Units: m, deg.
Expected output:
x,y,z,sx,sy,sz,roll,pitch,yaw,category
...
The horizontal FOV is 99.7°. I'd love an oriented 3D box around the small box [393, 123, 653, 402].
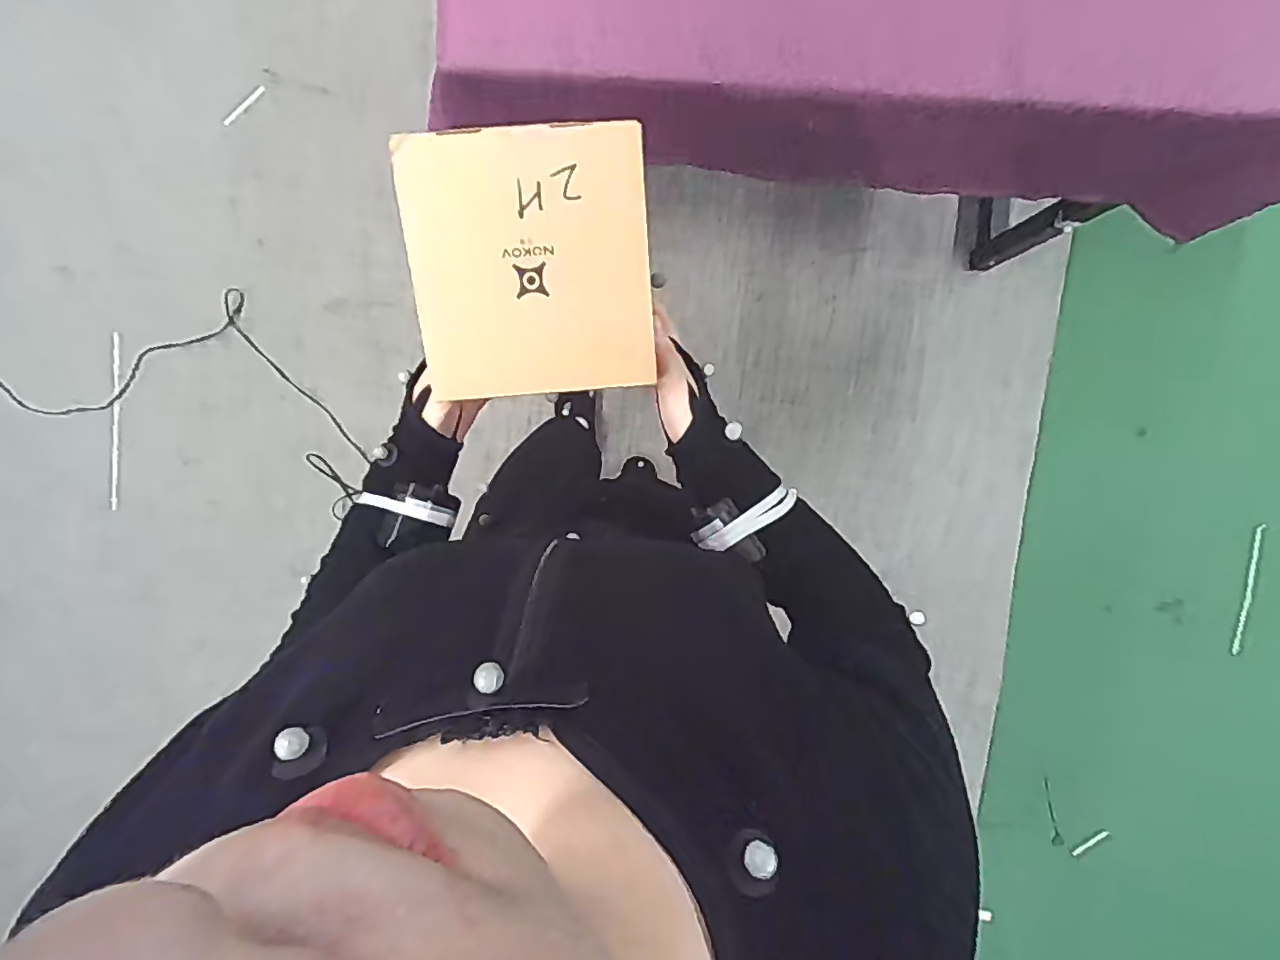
x,y,z,sx,sy,sz,roll,pitch,yaw,category
-0.079,-0.167,0.452,0.168,0.176,0.179,-5,105,-3,small box
